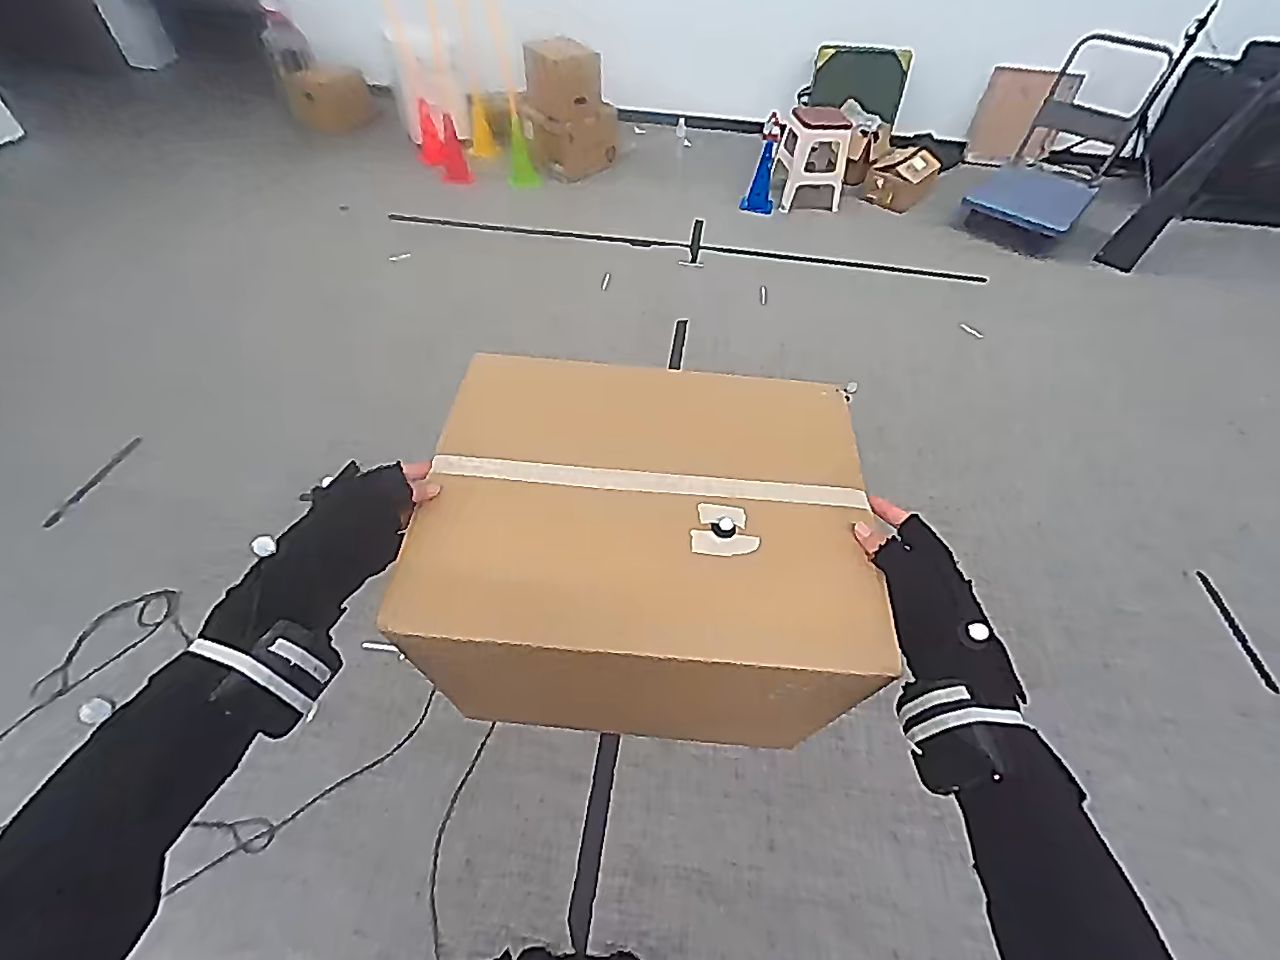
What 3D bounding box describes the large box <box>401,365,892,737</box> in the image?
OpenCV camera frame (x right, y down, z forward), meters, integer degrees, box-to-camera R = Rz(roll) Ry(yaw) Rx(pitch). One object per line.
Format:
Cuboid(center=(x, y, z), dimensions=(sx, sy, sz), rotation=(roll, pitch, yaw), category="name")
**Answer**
Cuboid(center=(0.005, 0.095, 0.636), dimensions=(0.408, 0.320, 0.320), rotation=(5, 55, 0), category="large box")
